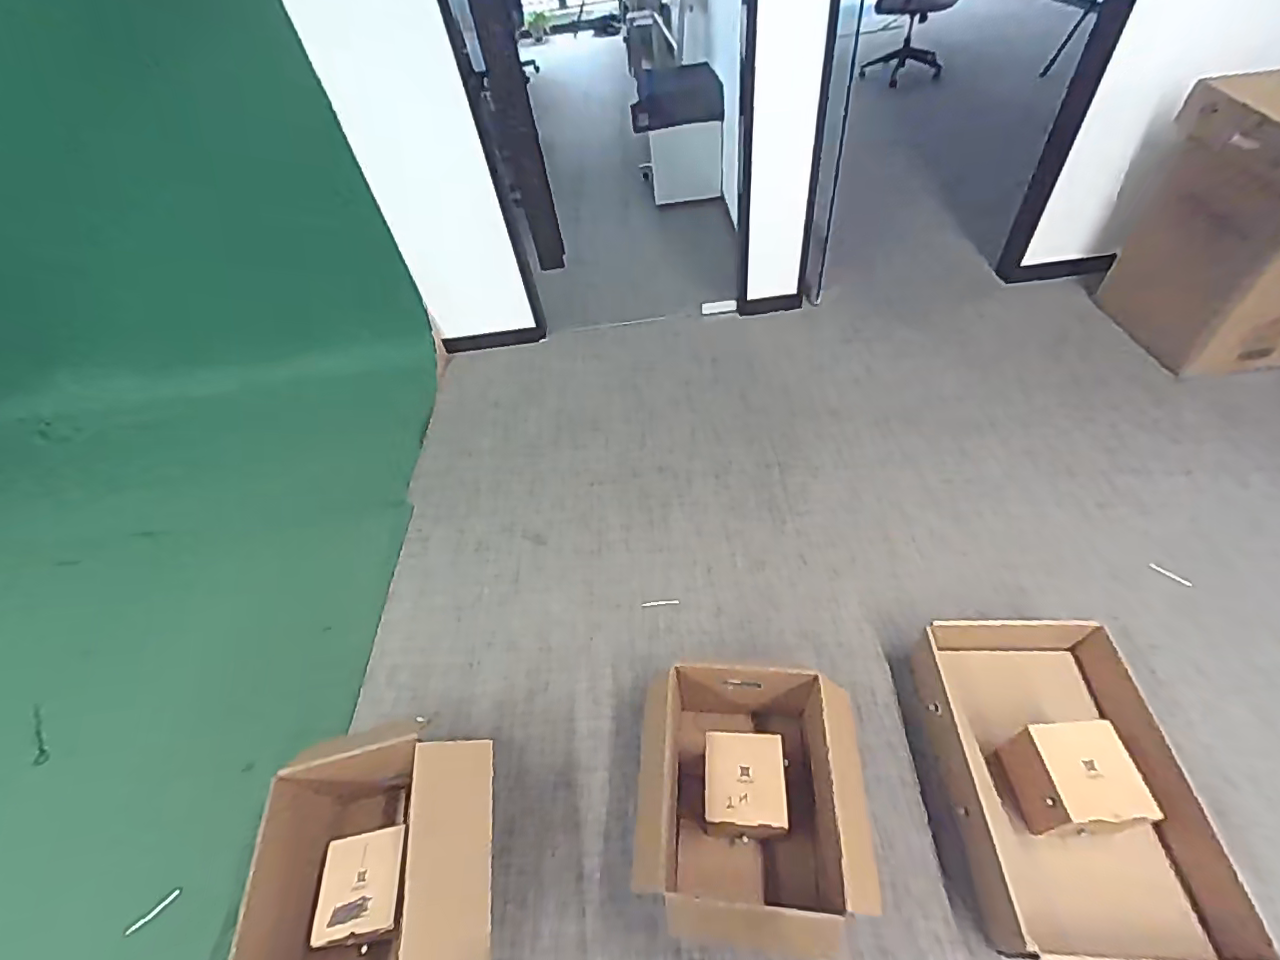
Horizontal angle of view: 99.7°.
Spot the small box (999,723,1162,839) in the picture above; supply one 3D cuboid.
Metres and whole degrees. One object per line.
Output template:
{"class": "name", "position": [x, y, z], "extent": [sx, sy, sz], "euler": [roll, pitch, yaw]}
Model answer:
{"class": "small box", "position": [0.884, 0.619, 1.111], "extent": [0.168, 0.176, 0.179], "euler": [-5, 49, 3]}
